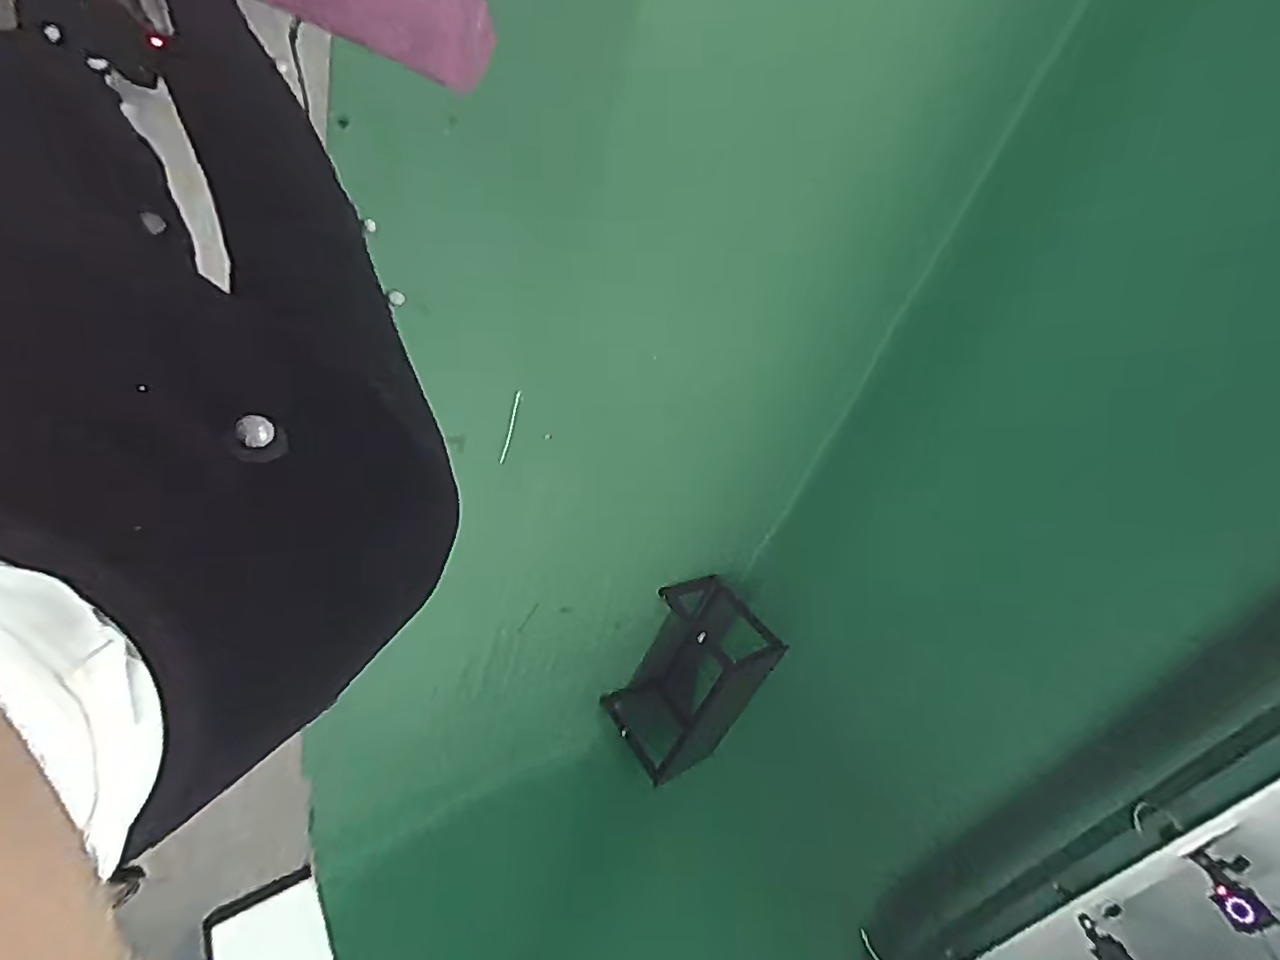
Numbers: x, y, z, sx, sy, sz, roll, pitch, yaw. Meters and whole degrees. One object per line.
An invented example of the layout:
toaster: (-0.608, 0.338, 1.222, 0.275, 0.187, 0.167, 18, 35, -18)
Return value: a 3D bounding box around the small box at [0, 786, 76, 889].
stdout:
small box: (-1.797, 1.048, 1.589, 0.179, 0.176, 0.168, -6, 129, -43)
